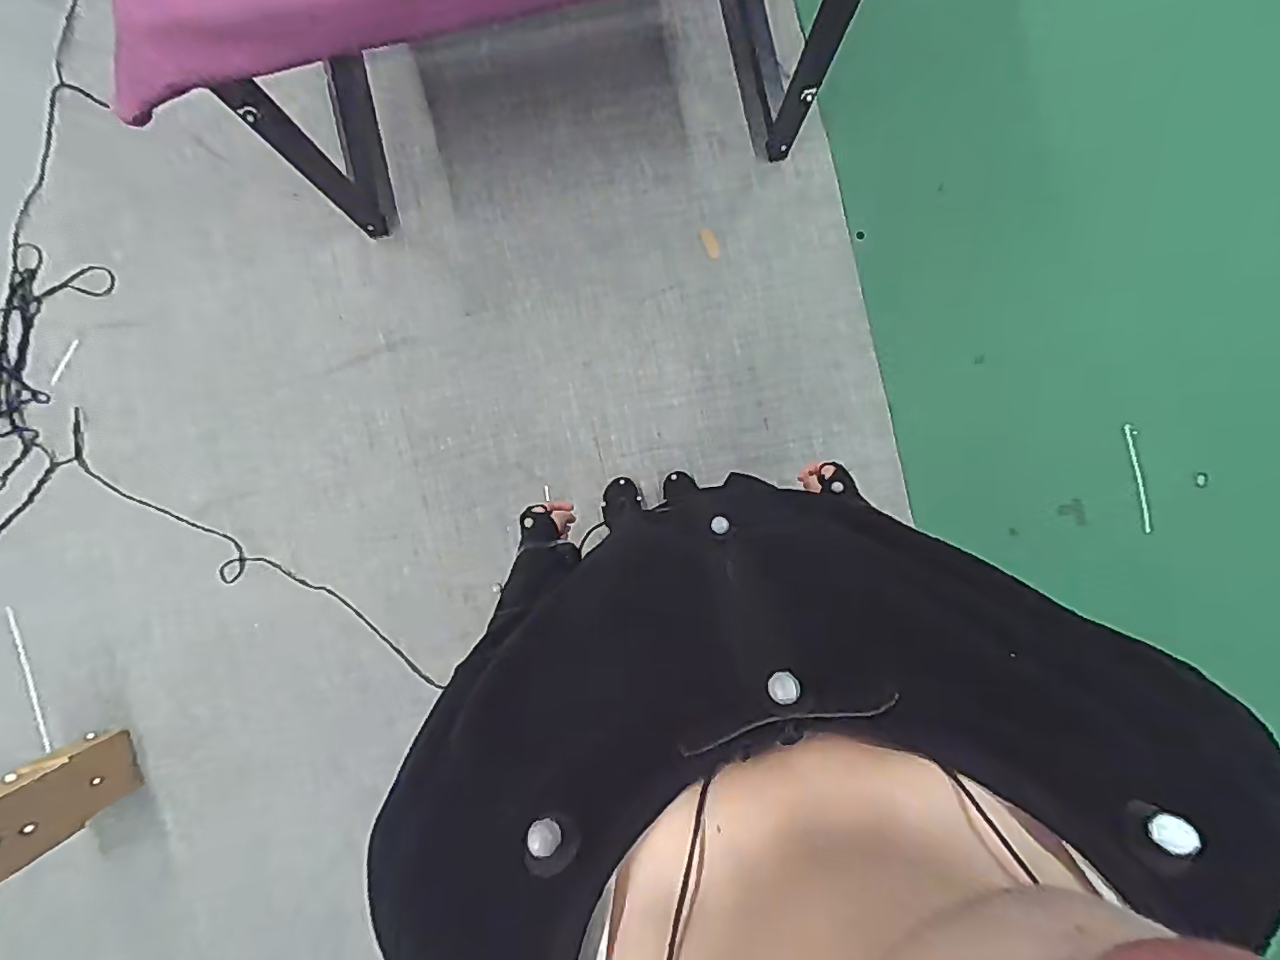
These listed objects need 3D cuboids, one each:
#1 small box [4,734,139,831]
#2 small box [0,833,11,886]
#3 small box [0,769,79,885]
[{"bbox_3d":[-1.477,0.803,1.418,0.168,0.176,0.179,-14,90,-1],"label":"small box"},{"bbox_3d":[-1.458,0.804,1.091,0.168,0.176,0.179,-16,89,-1],"label":"small box"},{"bbox_3d":[-1.473,0.812,1.254,0.168,0.176,0.179,-14,90,-2],"label":"small box"}]
